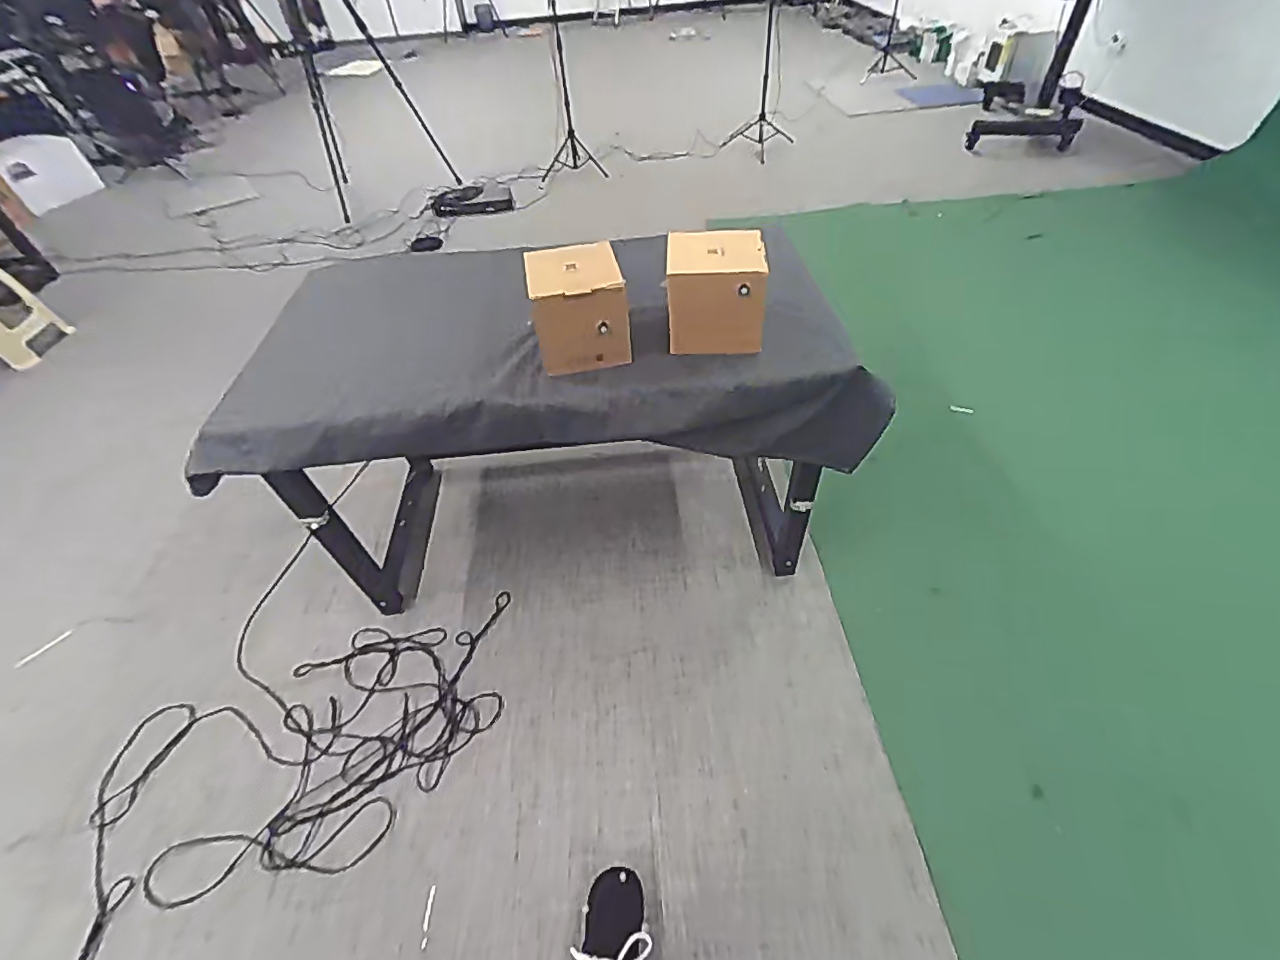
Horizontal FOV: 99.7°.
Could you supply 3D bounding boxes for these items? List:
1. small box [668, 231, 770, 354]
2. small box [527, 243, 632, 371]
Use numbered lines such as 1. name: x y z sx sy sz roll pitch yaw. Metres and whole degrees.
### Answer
1. small box: 0.146 -0.354 1.033 0.179 0.176 0.168 0 48 4
2. small box: -0.112 -0.322 1.025 0.168 0.176 0.179 -10 47 -6
